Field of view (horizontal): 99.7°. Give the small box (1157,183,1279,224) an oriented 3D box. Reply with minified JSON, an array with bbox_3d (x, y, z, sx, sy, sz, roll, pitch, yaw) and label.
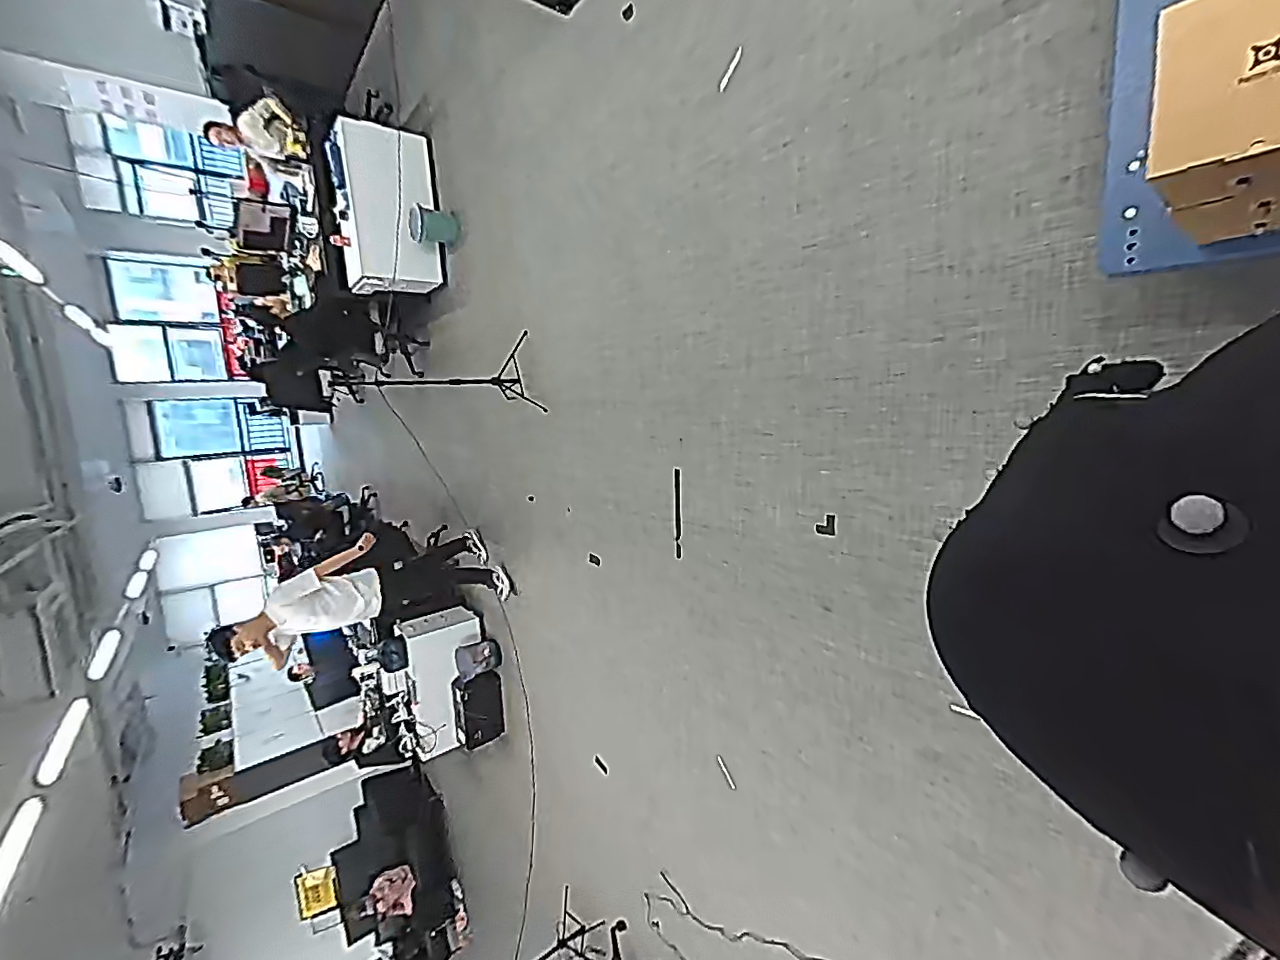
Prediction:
[{"bbox_3d":[0.797,-0.447,0.698,0.168,0.176,0.179,3,101,50],"label":"small box"}]

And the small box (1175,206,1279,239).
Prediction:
[{"bbox_3d":[0.925,-0.470,0.799,0.168,0.176,0.179,6,102,50],"label":"small box"}]

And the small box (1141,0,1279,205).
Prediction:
[{"bbox_3d":[0.676,-0.427,0.588,0.168,0.176,0.179,7,103,50],"label":"small box"}]
